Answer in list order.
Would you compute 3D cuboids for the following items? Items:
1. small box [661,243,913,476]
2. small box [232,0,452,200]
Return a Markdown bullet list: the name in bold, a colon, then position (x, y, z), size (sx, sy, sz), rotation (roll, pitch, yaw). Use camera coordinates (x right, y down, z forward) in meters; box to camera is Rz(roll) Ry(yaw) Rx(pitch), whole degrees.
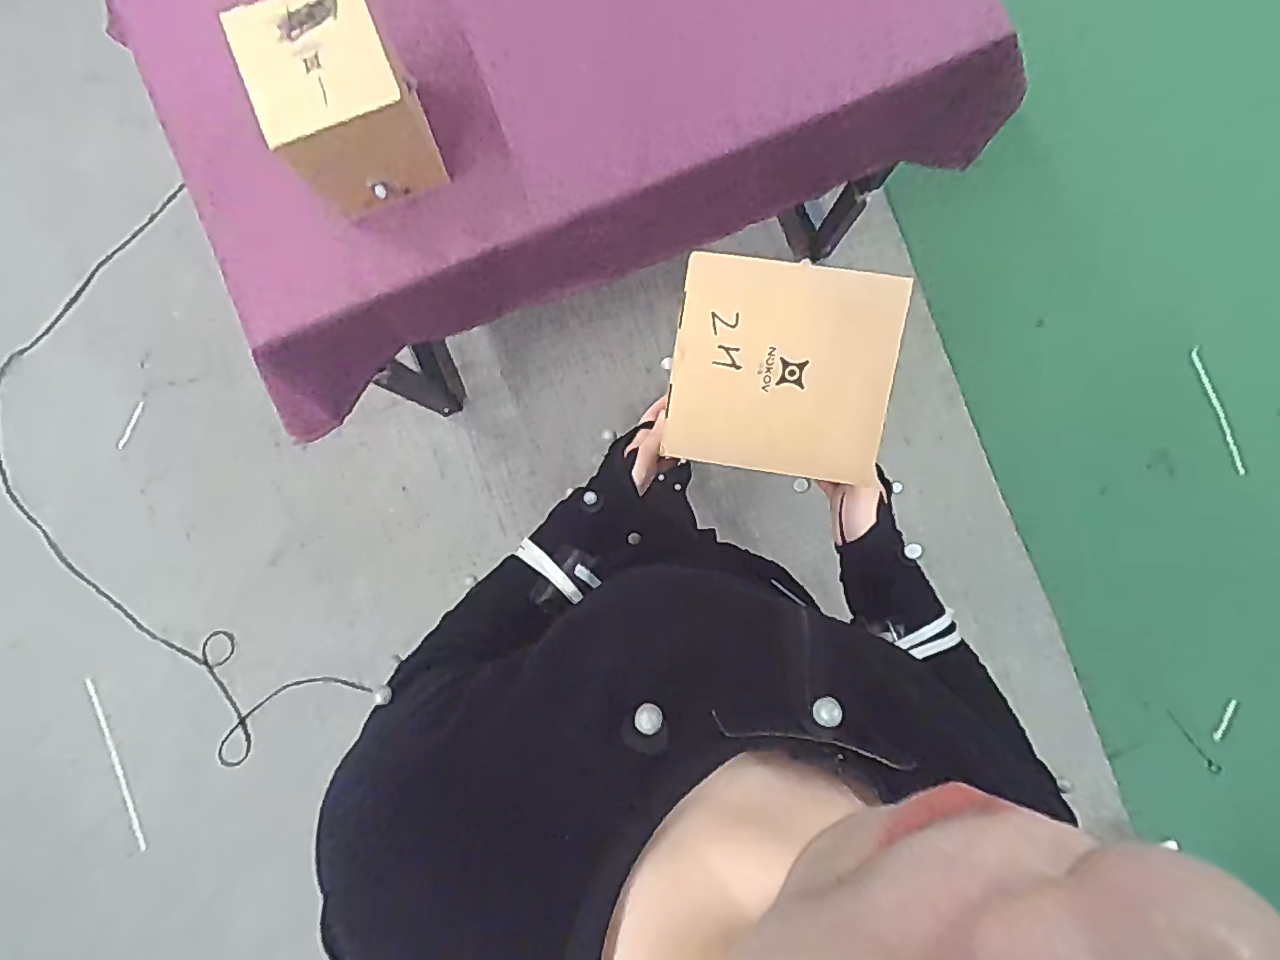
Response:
- **small box**: position (0.122, -0.107, 0.514), size (0.179, 0.176, 0.168), rotation (9, 98, 5)
- **small box**: position (-0.376, -0.515, 0.712), size (0.168, 0.176, 0.179), rotation (-22, 88, 0)
